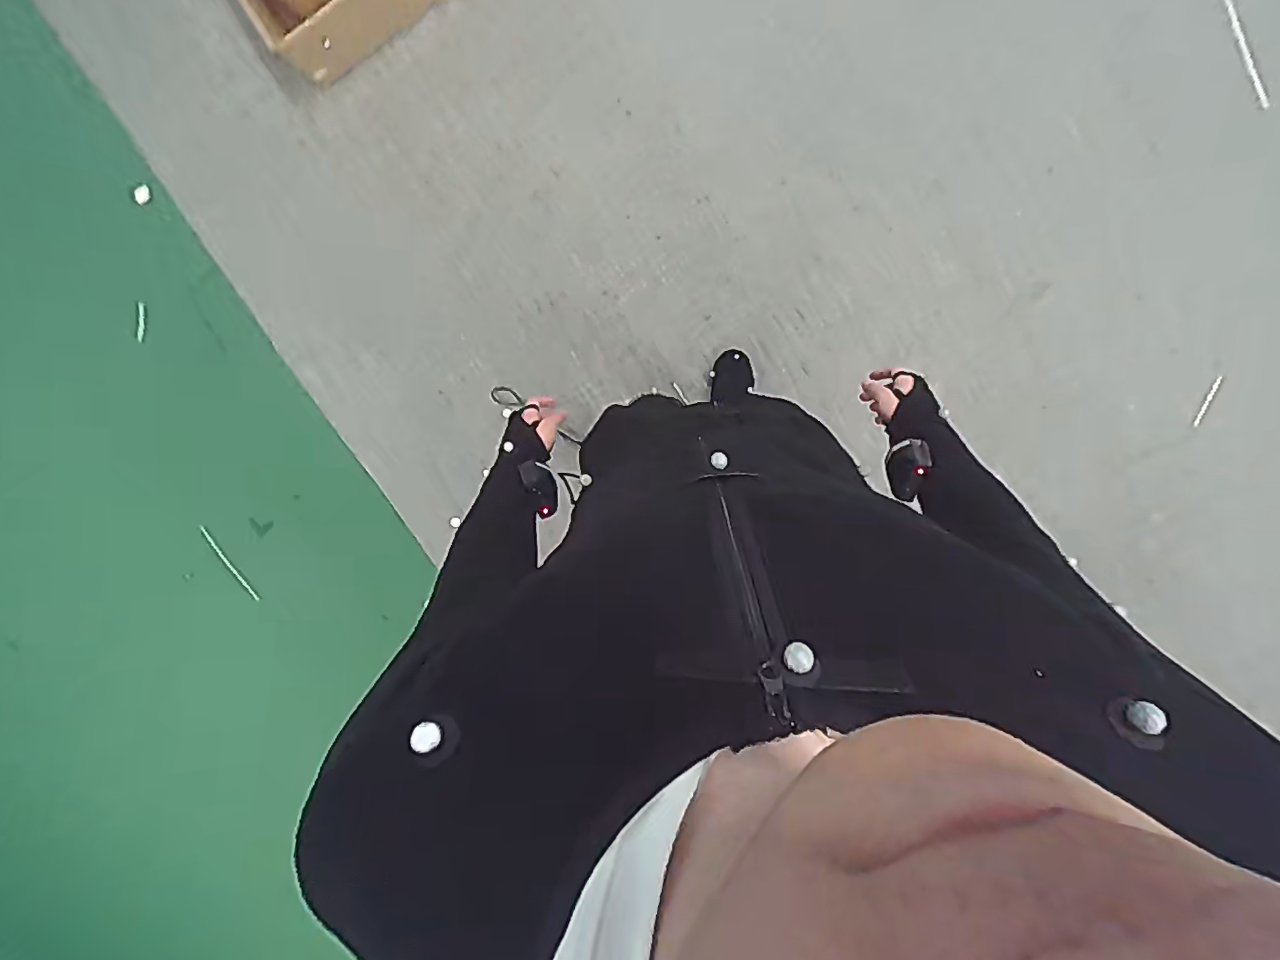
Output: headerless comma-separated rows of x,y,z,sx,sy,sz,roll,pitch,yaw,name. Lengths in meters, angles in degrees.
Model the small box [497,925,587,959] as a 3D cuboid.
-0.206,1.092,1.130,0.168,0.176,0.179,-28,101,11,small box
